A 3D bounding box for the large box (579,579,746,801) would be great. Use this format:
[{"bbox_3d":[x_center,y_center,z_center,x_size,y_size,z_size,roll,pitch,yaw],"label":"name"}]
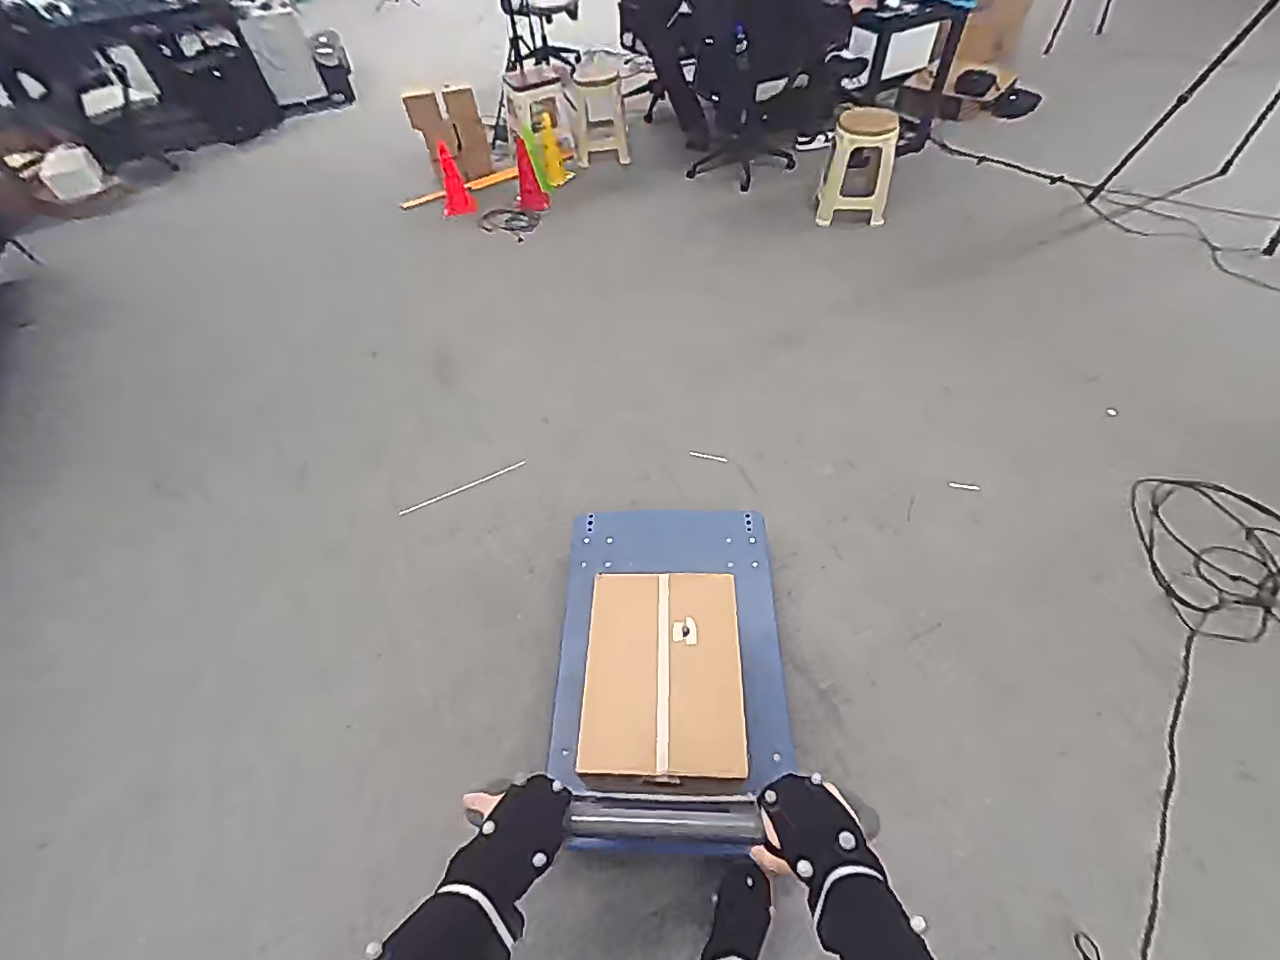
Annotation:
[{"bbox_3d":[0.055,0.476,1.224,0.320,0.320,0.408,0,51,4],"label":"large box"}]
